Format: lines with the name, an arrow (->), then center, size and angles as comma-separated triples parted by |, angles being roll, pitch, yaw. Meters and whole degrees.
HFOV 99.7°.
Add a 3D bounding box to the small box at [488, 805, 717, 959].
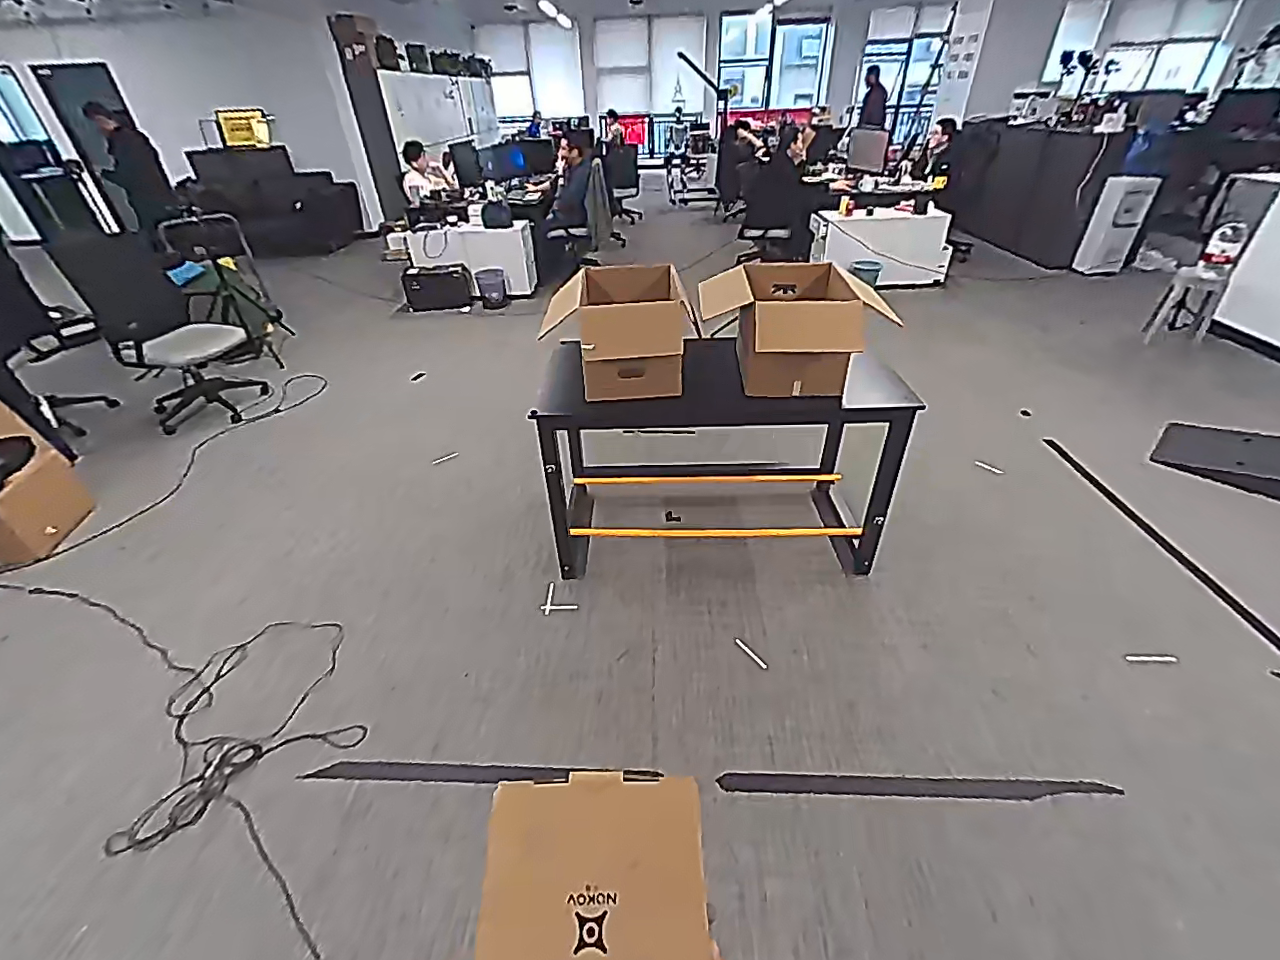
small box -> -0.027, 0.387, 0.448 | 0.168, 0.176, 0.179 | -2, 50, 0
